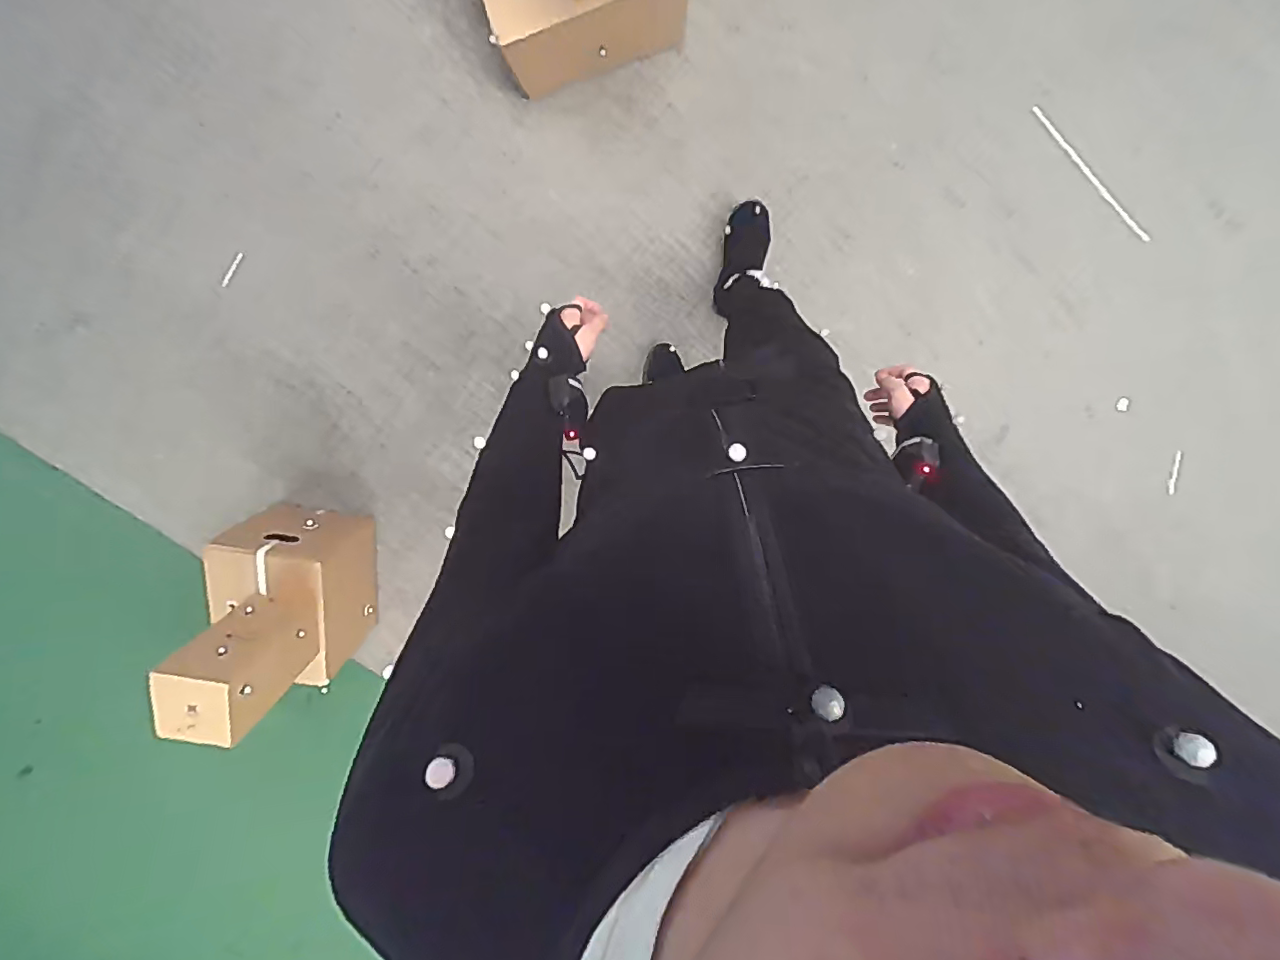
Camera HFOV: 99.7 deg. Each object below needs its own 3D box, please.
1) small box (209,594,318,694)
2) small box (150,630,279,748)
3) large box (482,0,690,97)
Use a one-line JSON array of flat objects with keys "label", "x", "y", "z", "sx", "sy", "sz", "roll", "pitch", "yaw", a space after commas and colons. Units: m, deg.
[{"label": "small box", "x": -0.954, "y": 0.413, "z": 1.386, "sx": 0.168, "sy": 0.176, "sz": 0.179, "roll": 8, "pitch": 109, "yaw": -2}, {"label": "small box", "x": -0.955, "y": 0.467, "z": 1.230, "sx": 0.168, "sy": 0.176, "sz": 0.179, "roll": 11, "pitch": 109, "yaw": -2}, {"label": "large box", "x": -0.130, "y": -1.086, "z": 1.127, "sx": 0.408, "sy": 0.320, "sz": 0.320, "roll": -17, "pitch": 107, "yaw": 7}]
